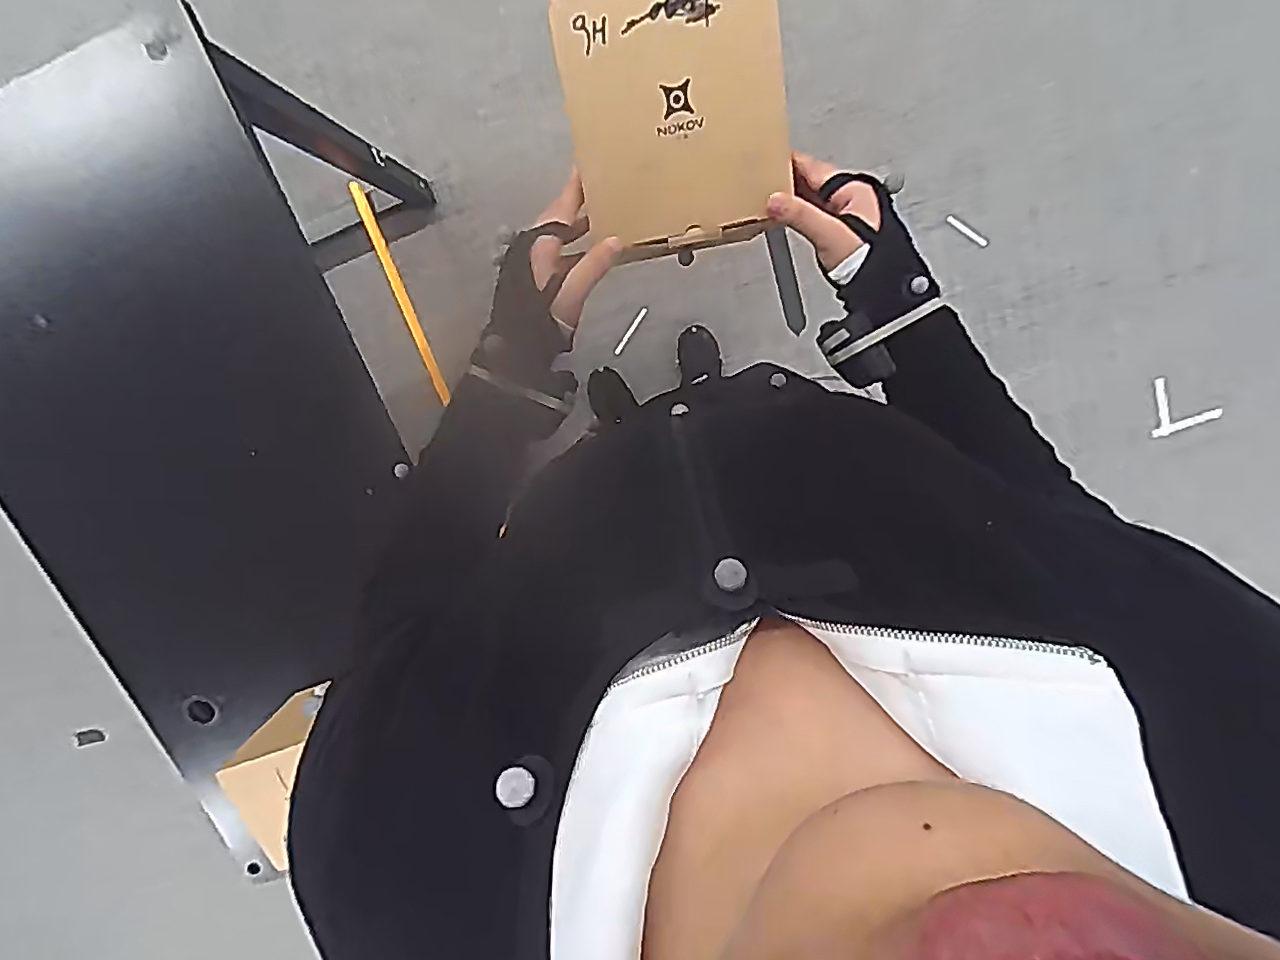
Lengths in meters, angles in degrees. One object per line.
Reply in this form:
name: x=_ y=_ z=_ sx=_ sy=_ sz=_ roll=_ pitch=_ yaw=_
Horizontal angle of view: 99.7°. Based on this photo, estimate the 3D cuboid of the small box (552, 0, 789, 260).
small box: x=0.029 y=-0.307 z=0.495 sx=0.168 sy=0.176 sz=0.179 roll=-10 pitch=109 yaw=3

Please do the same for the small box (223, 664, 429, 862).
small box: x=-0.448 y=0.411 z=0.806 sx=0.168 sy=0.176 sz=0.179 roll=-20 pitch=102 yaw=7
